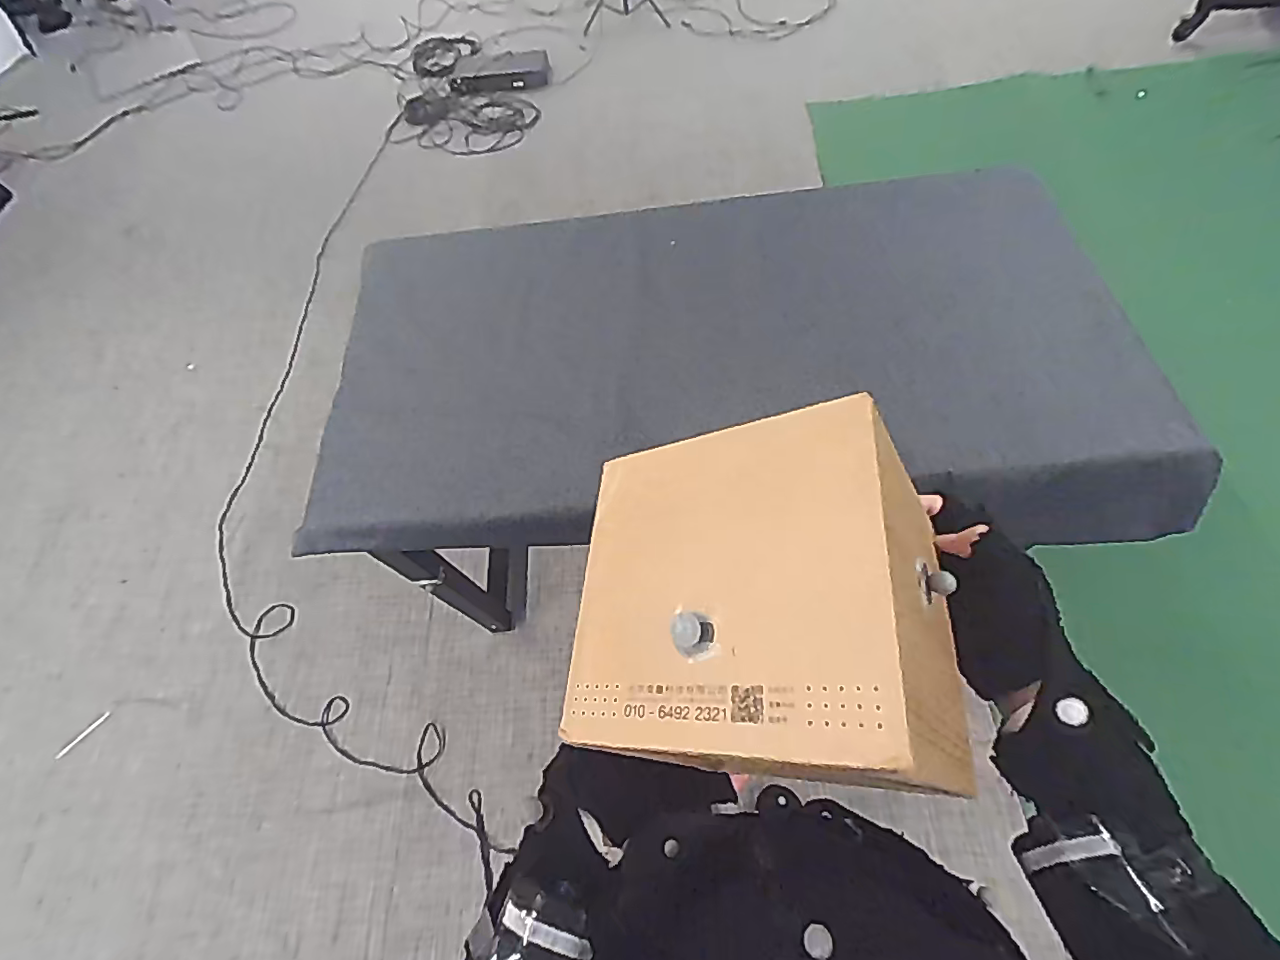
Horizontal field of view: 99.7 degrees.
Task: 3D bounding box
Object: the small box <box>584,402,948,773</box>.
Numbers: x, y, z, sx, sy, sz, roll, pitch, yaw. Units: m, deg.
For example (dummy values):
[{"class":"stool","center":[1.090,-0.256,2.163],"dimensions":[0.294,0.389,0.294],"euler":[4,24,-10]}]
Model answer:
[{"class":"small box","center":[0.083,0.083,0.343],"dimensions":[0.168,0.179,0.176],"euler":[-13,57,33]}]
